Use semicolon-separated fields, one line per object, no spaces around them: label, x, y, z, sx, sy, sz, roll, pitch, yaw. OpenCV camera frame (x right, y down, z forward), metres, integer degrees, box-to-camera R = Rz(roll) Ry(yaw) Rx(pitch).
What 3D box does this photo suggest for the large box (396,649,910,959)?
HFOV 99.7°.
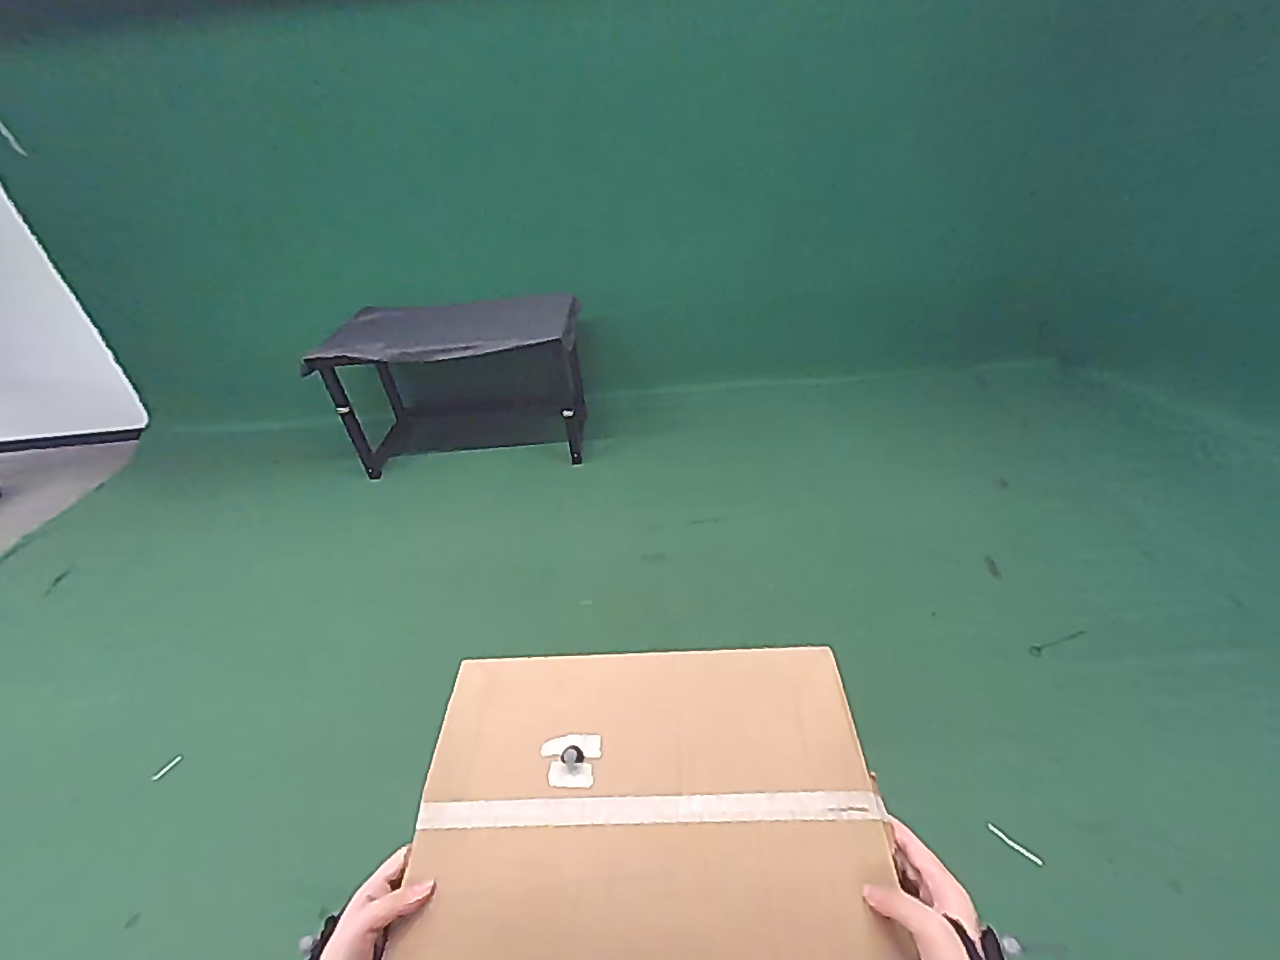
large box;0.020;0.412;0.584;0.408;0.320;0.320;-5;41;5
